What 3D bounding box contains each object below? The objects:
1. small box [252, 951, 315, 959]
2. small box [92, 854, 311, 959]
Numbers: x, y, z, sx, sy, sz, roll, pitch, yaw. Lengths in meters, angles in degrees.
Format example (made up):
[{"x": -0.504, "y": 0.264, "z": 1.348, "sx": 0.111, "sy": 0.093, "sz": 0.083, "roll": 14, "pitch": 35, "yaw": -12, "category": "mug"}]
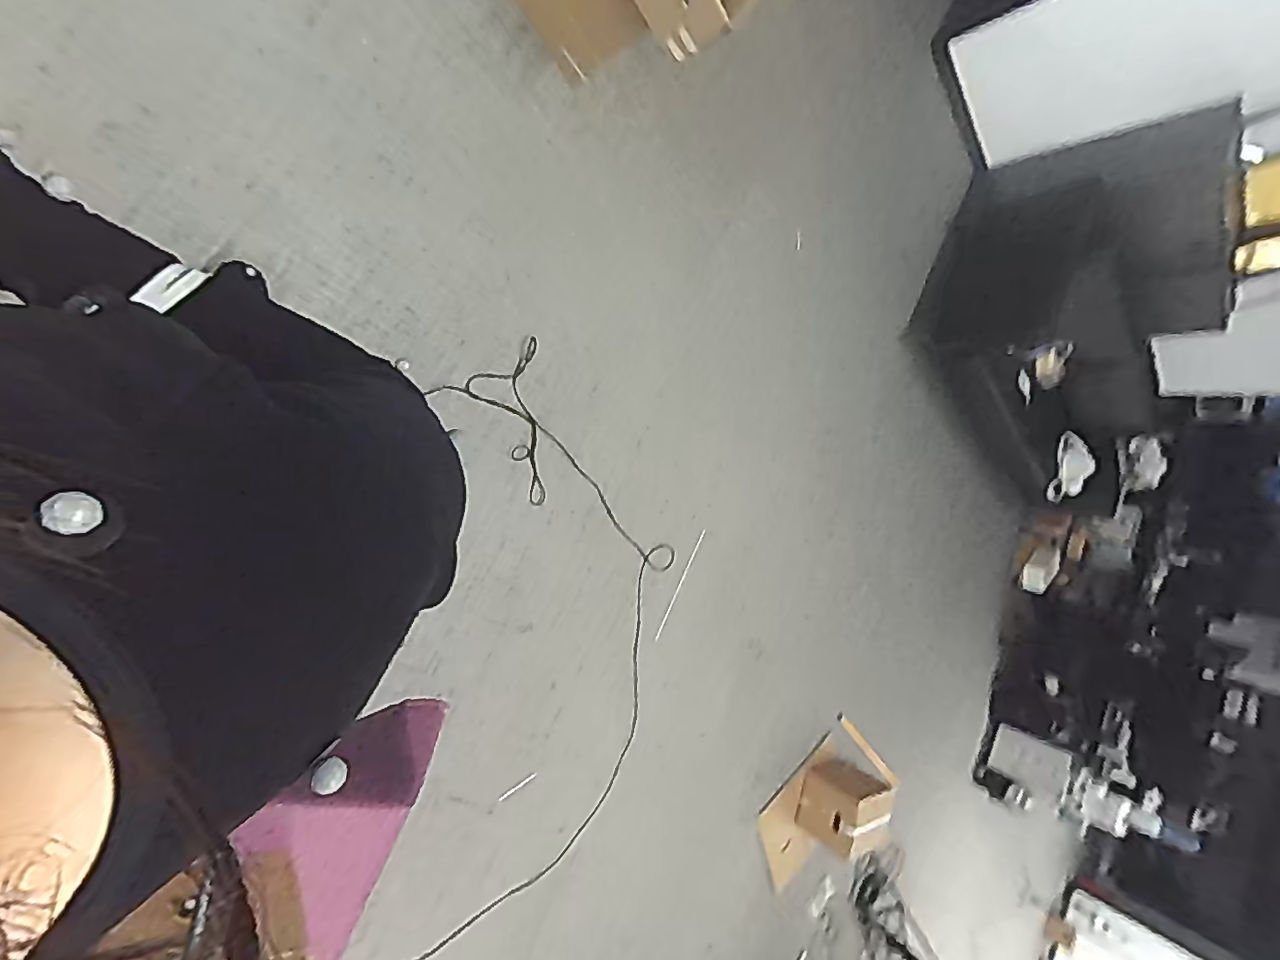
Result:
[{"x": -0.408, "y": 0.585, "z": 0.495, "sx": 0.179, "sy": 0.176, "sz": 0.168, "roll": 26, "pitch": 81, "yaw": -38, "category": "small box"}, {"x": -0.513, "y": 0.560, "z": 0.616, "sx": 0.168, "sy": 0.176, "sz": 0.179, "roll": 29, "pitch": 80, "yaw": -38, "category": "small box"}]
